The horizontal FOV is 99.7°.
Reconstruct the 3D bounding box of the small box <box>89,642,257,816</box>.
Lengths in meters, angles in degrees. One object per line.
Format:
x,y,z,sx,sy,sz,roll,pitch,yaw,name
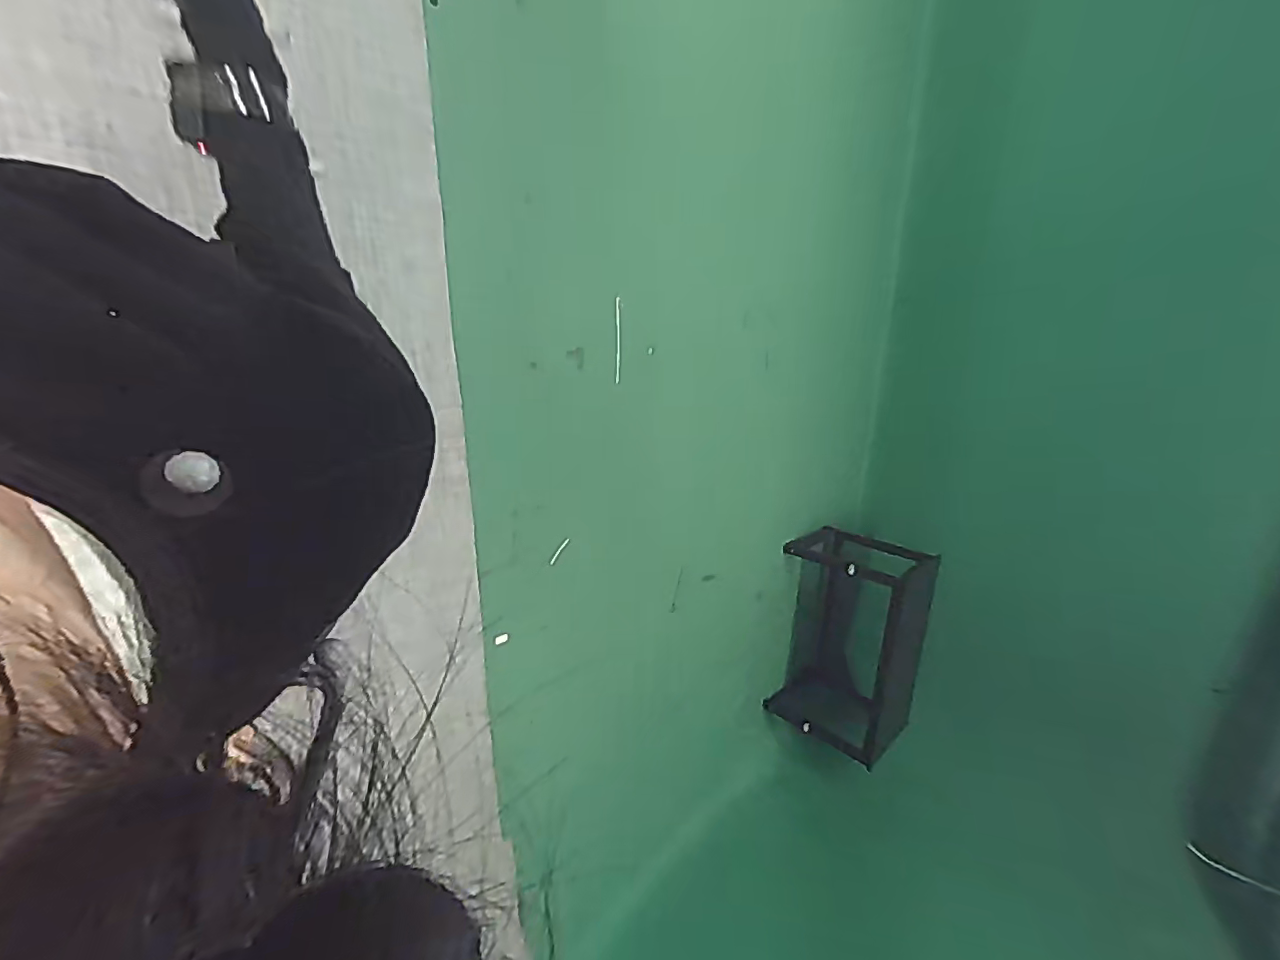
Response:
-0.789,0.406,0.918,0.179,0.176,0.168,-20,114,-39,small box

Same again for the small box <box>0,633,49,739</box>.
-1.214,0.407,0.968,0.179,0.176,0.168,-20,116,-41,small box

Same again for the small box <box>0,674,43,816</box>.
-1.097,0.444,0.859,0.168,0.176,0.179,-21,117,-41,small box

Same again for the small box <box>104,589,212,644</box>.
-1.008,0.352,1.155,0.168,0.176,0.179,-21,117,-38,small box

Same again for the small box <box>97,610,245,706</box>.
-0.897,0.375,1.037,0.179,0.176,0.168,-20,114,-39,small box
